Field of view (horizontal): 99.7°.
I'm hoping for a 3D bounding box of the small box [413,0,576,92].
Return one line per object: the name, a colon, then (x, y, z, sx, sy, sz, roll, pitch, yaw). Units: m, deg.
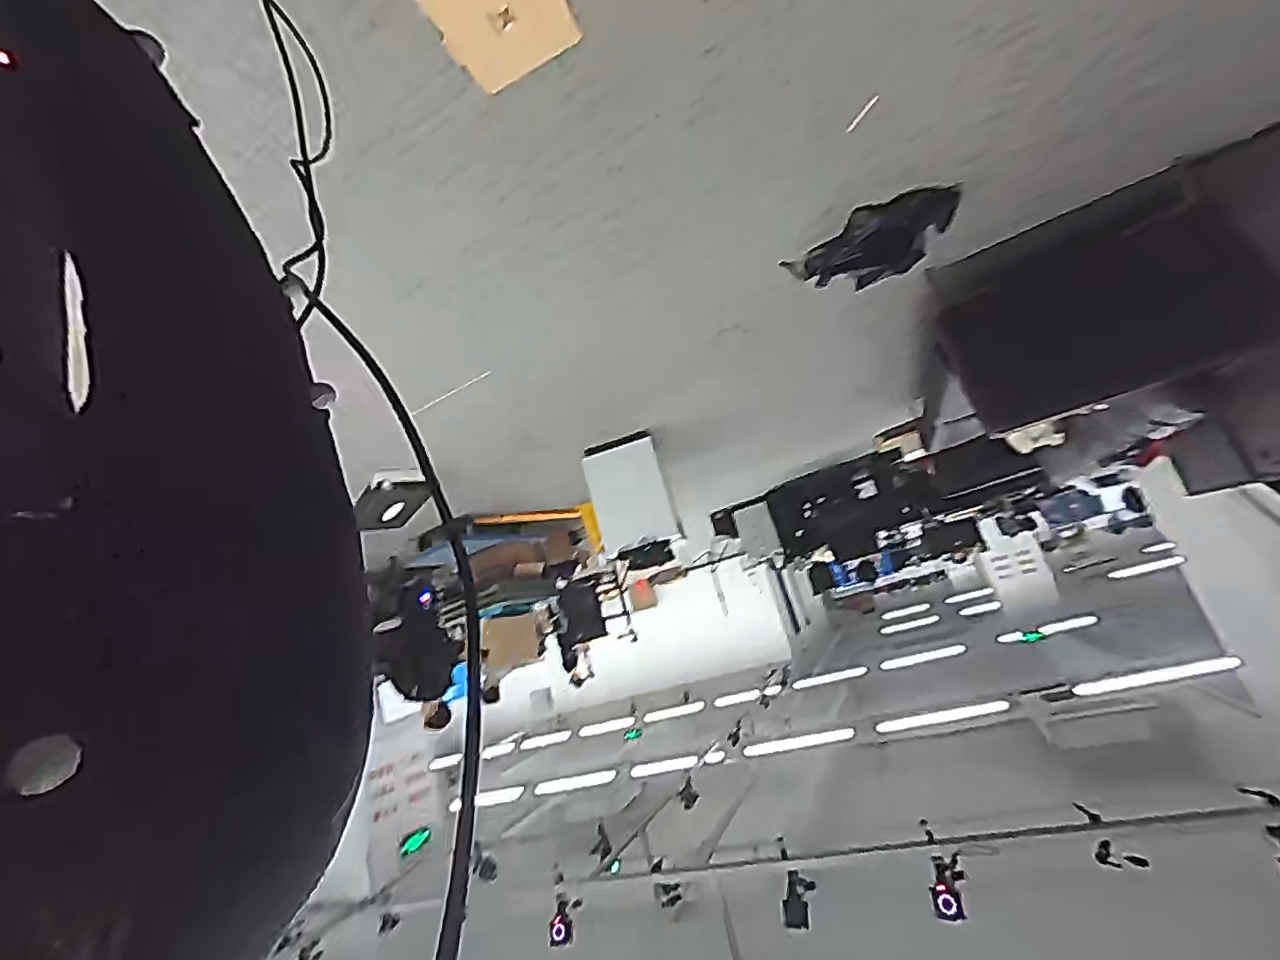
small box: (-0.218, -0.718, 0.763, 0.179, 0.176, 0.168, -21, 166, 14)
